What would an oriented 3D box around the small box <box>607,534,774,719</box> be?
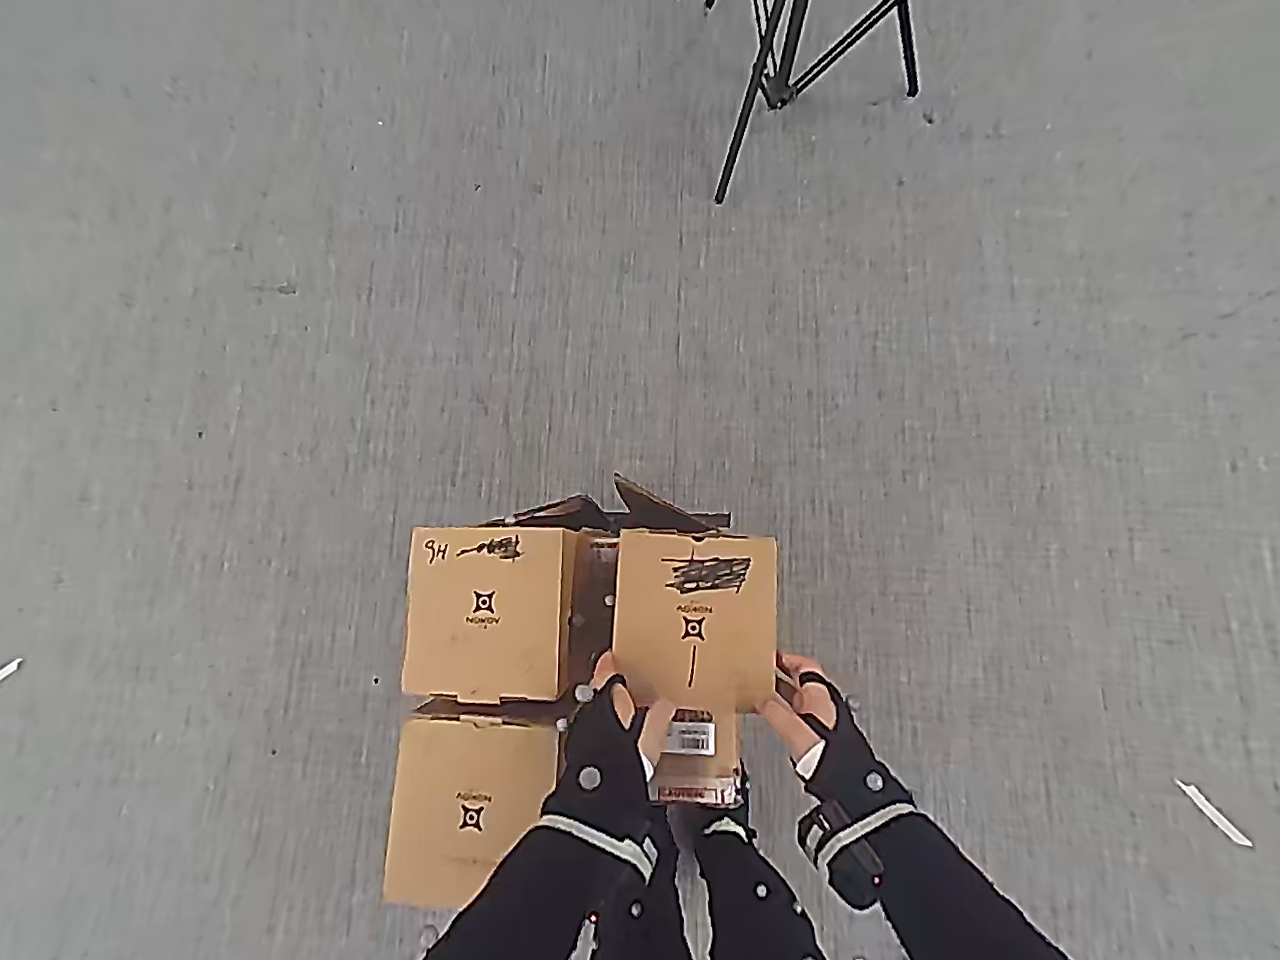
[{"bbox_3d":[0.055,0.160,0.626,0.168,0.176,0.179,3,80,2],"label":"small box"}]
